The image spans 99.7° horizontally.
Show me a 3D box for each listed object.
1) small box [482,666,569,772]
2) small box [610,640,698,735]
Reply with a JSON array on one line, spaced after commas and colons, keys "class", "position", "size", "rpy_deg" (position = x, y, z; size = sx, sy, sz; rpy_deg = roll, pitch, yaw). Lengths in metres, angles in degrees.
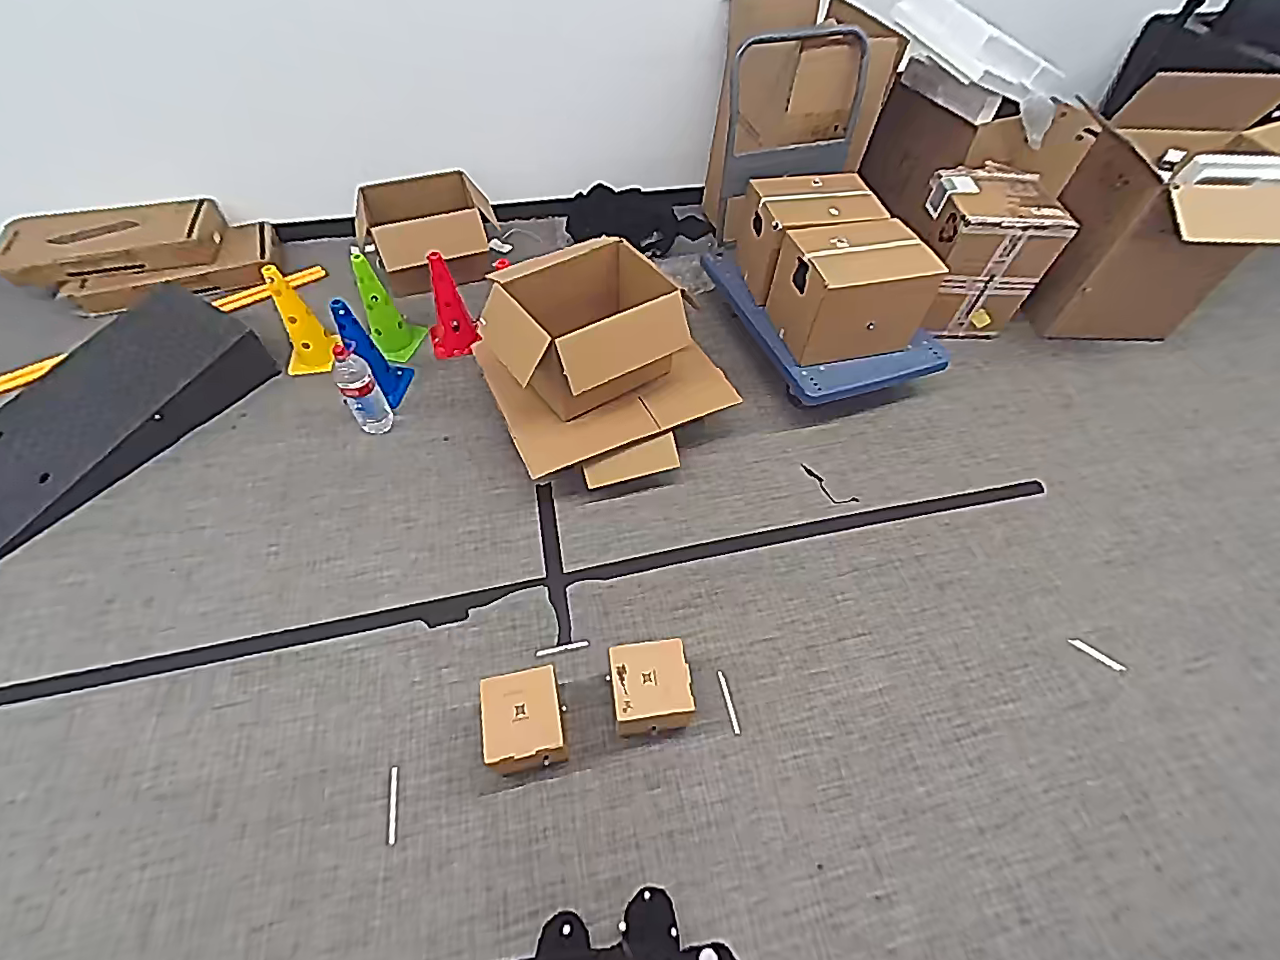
[{"class": "small box", "position": [-0.256, 0.548, 1.227], "size": [0.168, 0.176, 0.179], "rpy_deg": [-9, 55, -10]}, {"class": "small box", "position": [0.025, 0.493, 1.279], "size": [0.179, 0.176, 0.168], "rpy_deg": [-5, 56, -7]}]
